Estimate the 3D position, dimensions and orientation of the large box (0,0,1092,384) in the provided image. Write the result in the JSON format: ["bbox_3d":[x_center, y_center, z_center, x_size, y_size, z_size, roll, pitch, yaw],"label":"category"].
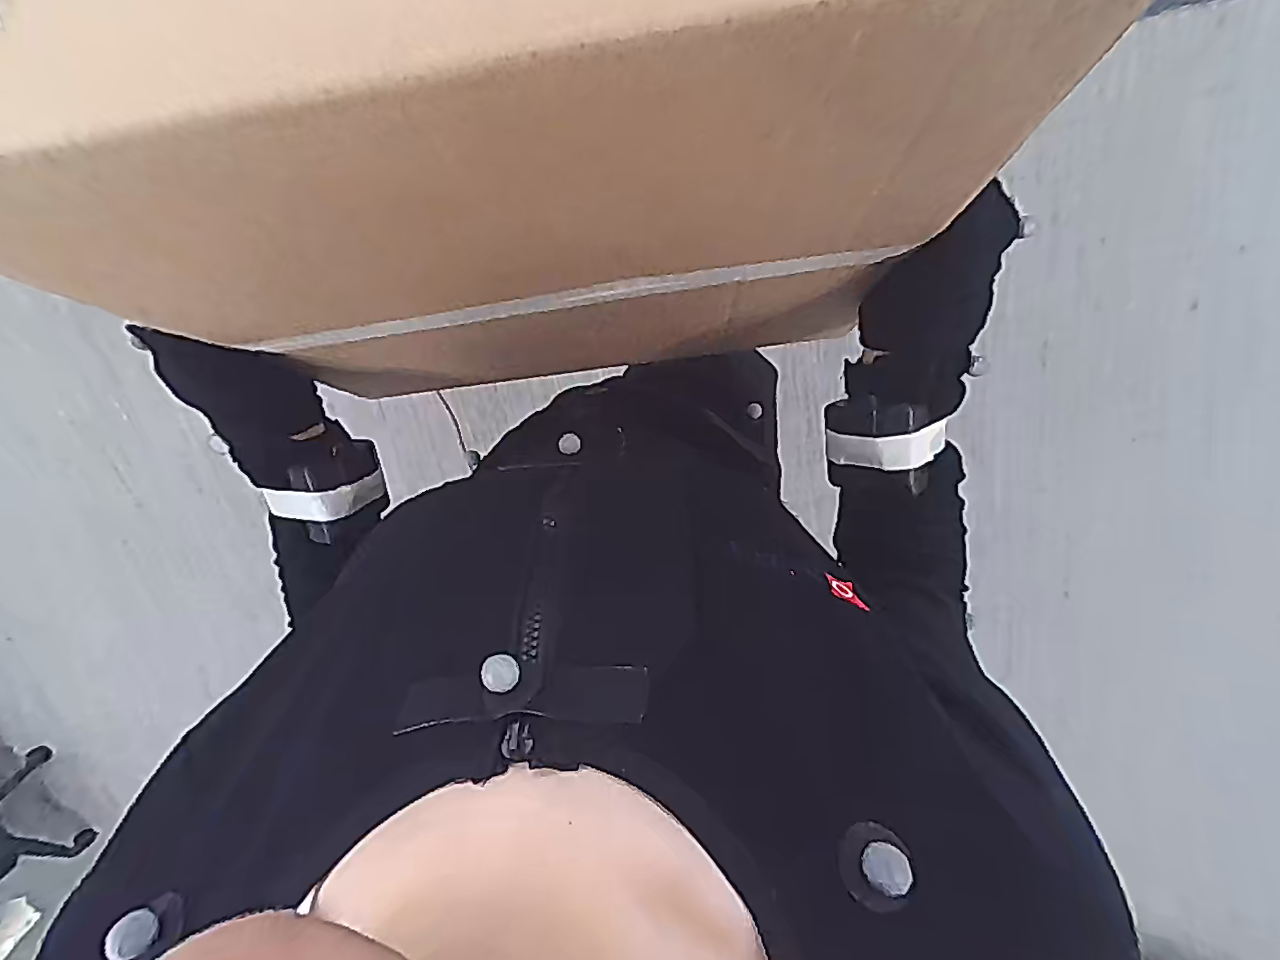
[{"bbox_3d":[-0.062,-0.267,0.315,0.408,0.320,0.320,-7,87,4],"label":"large box"}]
